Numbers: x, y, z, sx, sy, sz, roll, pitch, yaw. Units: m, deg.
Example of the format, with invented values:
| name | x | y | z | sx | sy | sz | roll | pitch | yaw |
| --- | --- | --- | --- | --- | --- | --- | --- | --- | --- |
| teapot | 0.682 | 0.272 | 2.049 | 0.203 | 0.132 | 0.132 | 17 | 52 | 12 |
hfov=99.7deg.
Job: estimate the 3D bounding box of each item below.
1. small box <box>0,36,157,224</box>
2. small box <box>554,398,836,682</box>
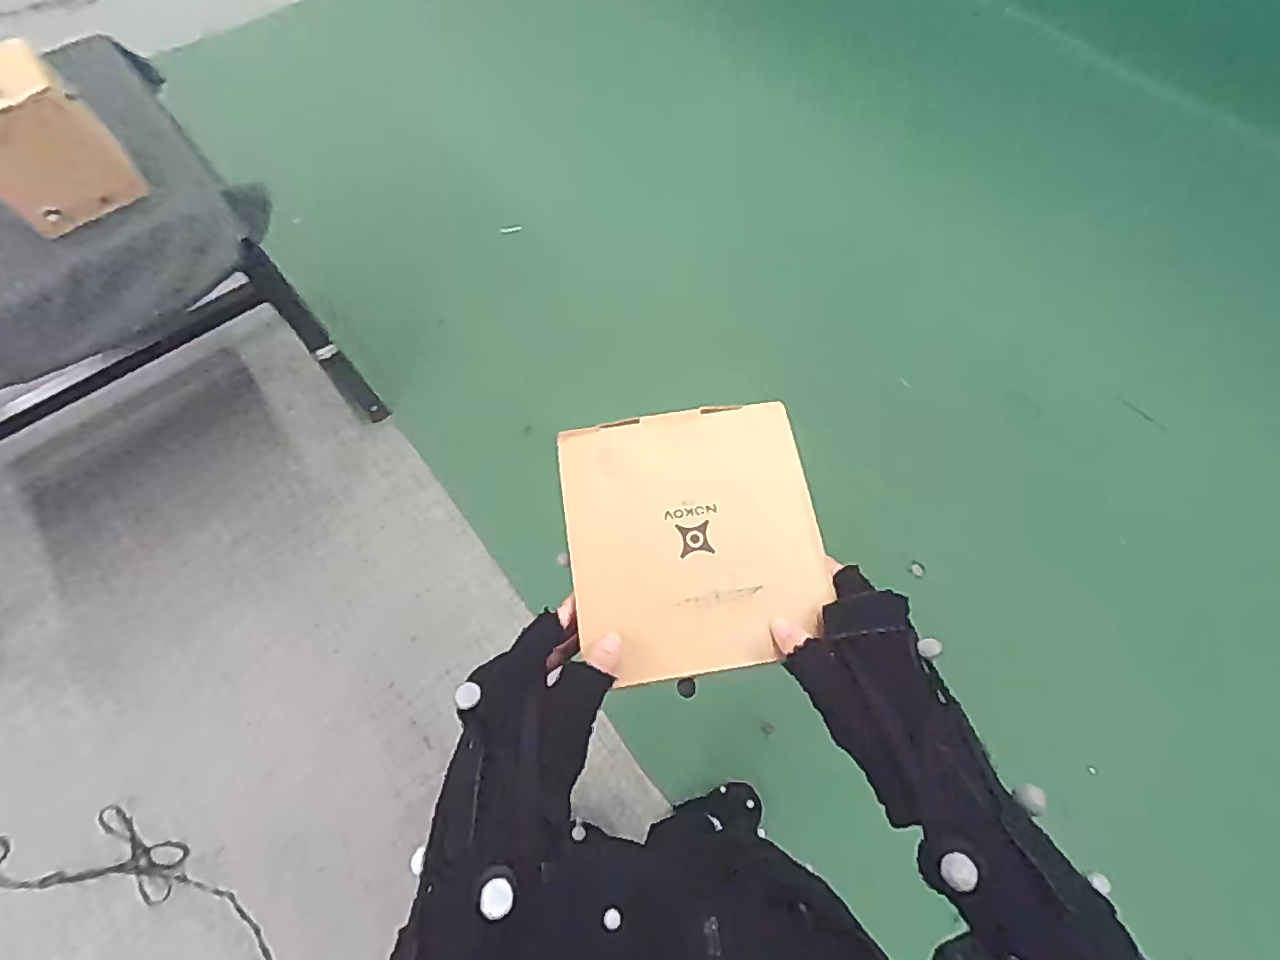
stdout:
| name | x | y | z | sx | sy | sz | roll | pitch | yaw |
| --- | --- | --- | --- | --- | --- | --- | --- | --- | --- |
| small box | -0.920 | -0.535 | 0.848 | 0.168 | 0.176 | 0.179 | -36 | 69 | -14 |
| small box | 0.030 | 0.058 | 0.437 | 0.168 | 0.176 | 0.179 | -10 | 72 | -3 |
